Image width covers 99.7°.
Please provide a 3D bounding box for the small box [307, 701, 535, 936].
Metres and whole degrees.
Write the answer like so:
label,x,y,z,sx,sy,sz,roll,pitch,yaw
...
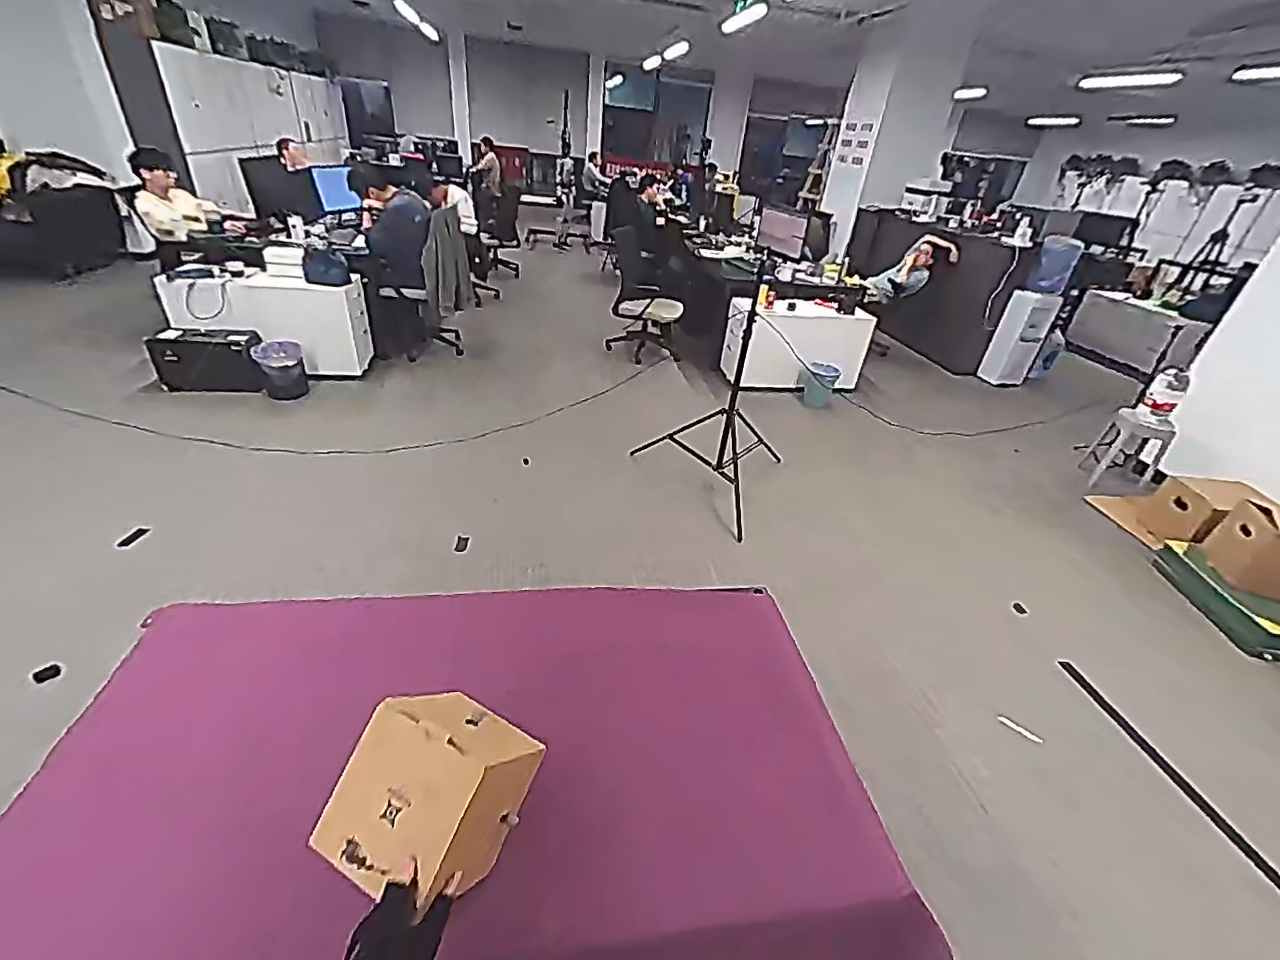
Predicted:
label,x,y,z,sx,sy,sz,roll,pitch,yaw
small box,-0.255,0.395,0.676,0.168,0.176,0.179,20,78,21
